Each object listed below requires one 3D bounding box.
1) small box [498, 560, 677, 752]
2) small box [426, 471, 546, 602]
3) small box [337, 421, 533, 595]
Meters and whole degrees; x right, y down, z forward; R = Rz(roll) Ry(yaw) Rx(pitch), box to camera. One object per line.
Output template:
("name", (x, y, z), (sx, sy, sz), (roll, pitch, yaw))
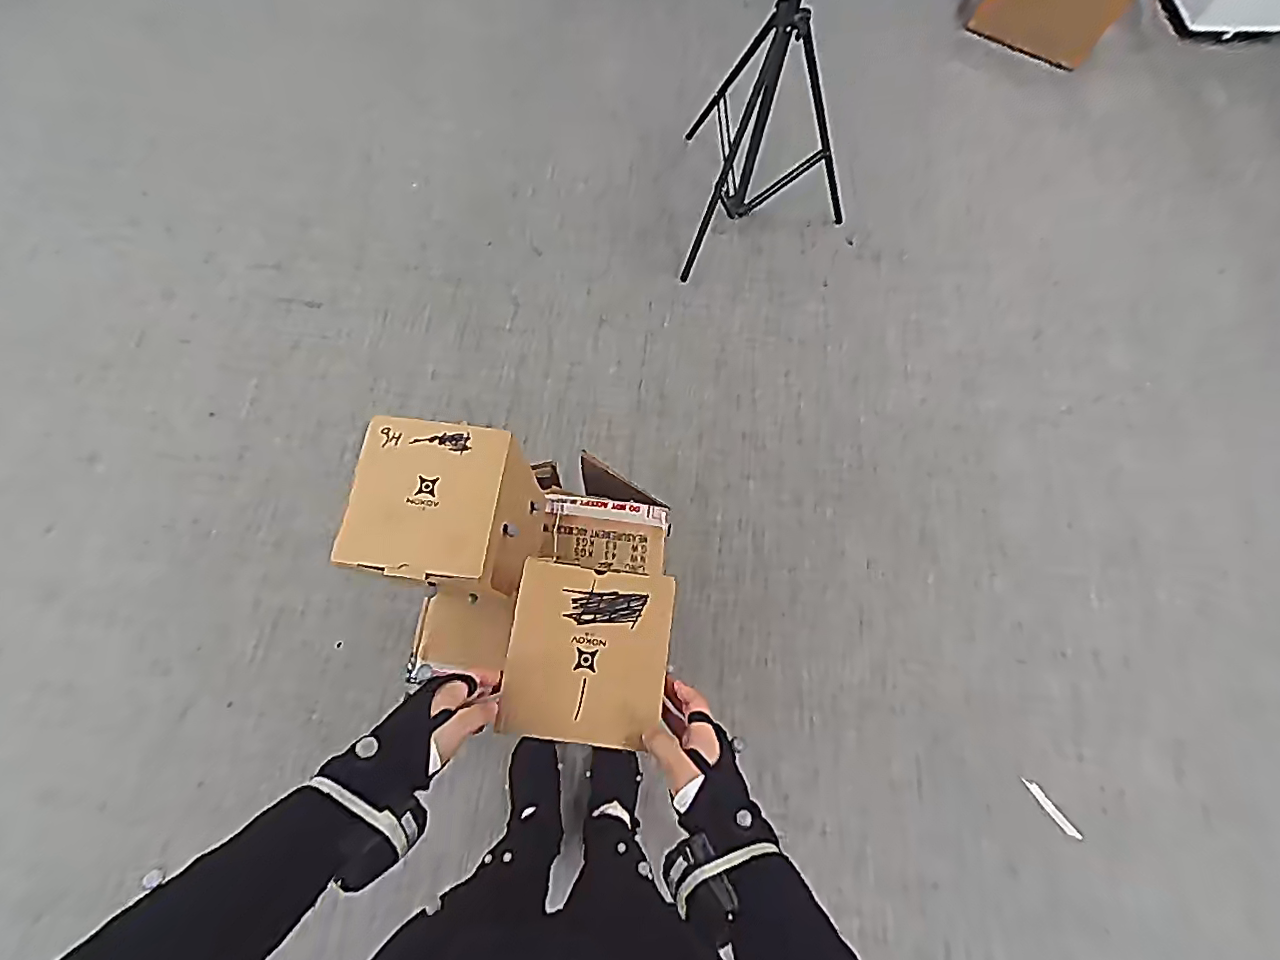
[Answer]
("small box", (-0.054, 0.202, 0.637), (0.168, 0.176, 0.179), (7, 73, 0))
("small box", (-0.246, 0.087, 0.838), (0.168, 0.176, 0.179), (5, 72, 1))
("small box", (-0.238, 0.045, 0.679), (0.168, 0.176, 0.179), (6, 73, 1))
